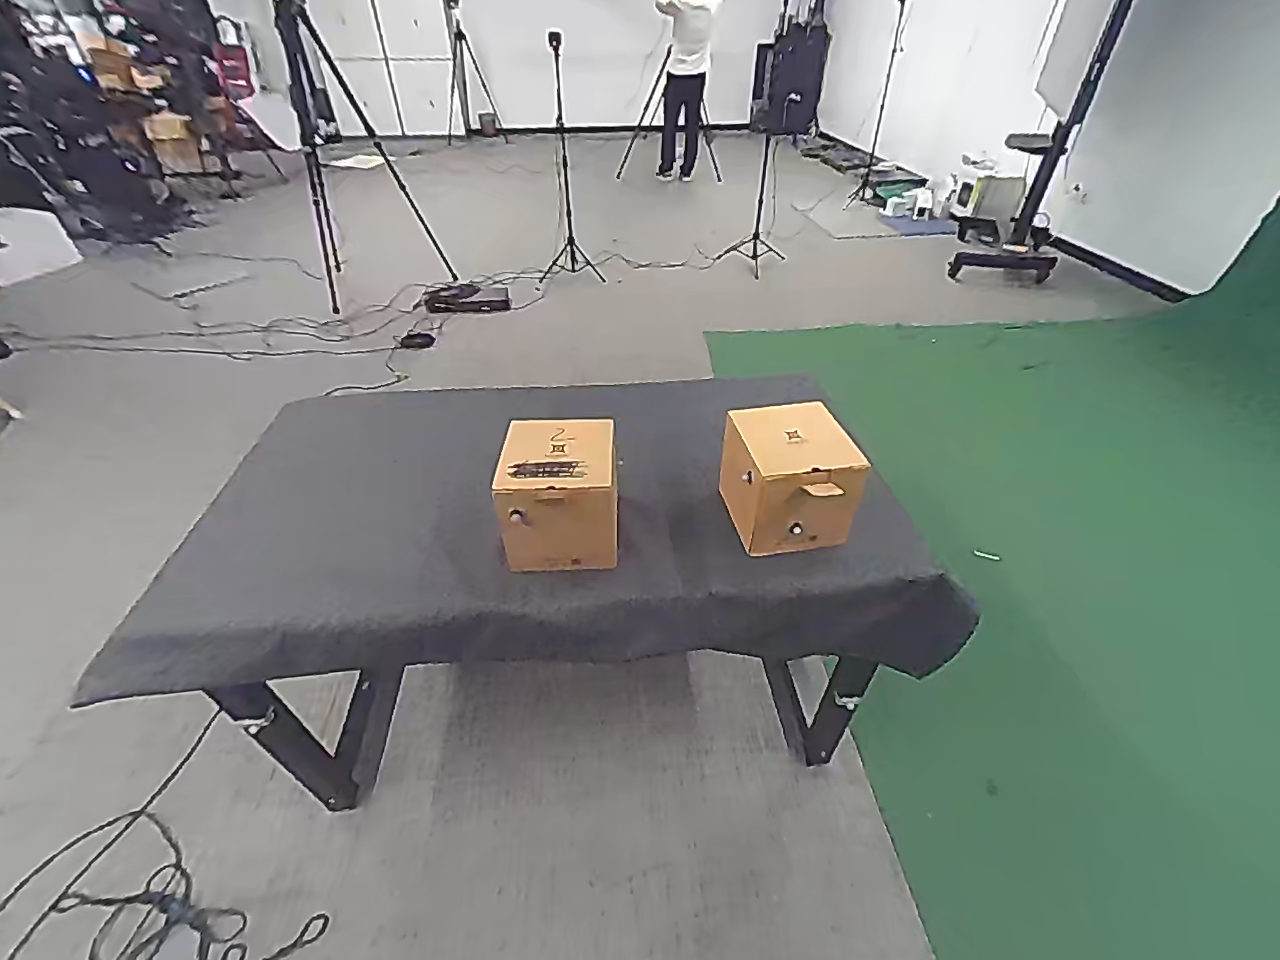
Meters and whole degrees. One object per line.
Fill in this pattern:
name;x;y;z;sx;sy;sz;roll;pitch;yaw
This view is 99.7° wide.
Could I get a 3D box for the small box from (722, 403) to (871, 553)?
small box;0.239;-0.005;0.883;0.168;0.176;0.179;-7;41;-7
